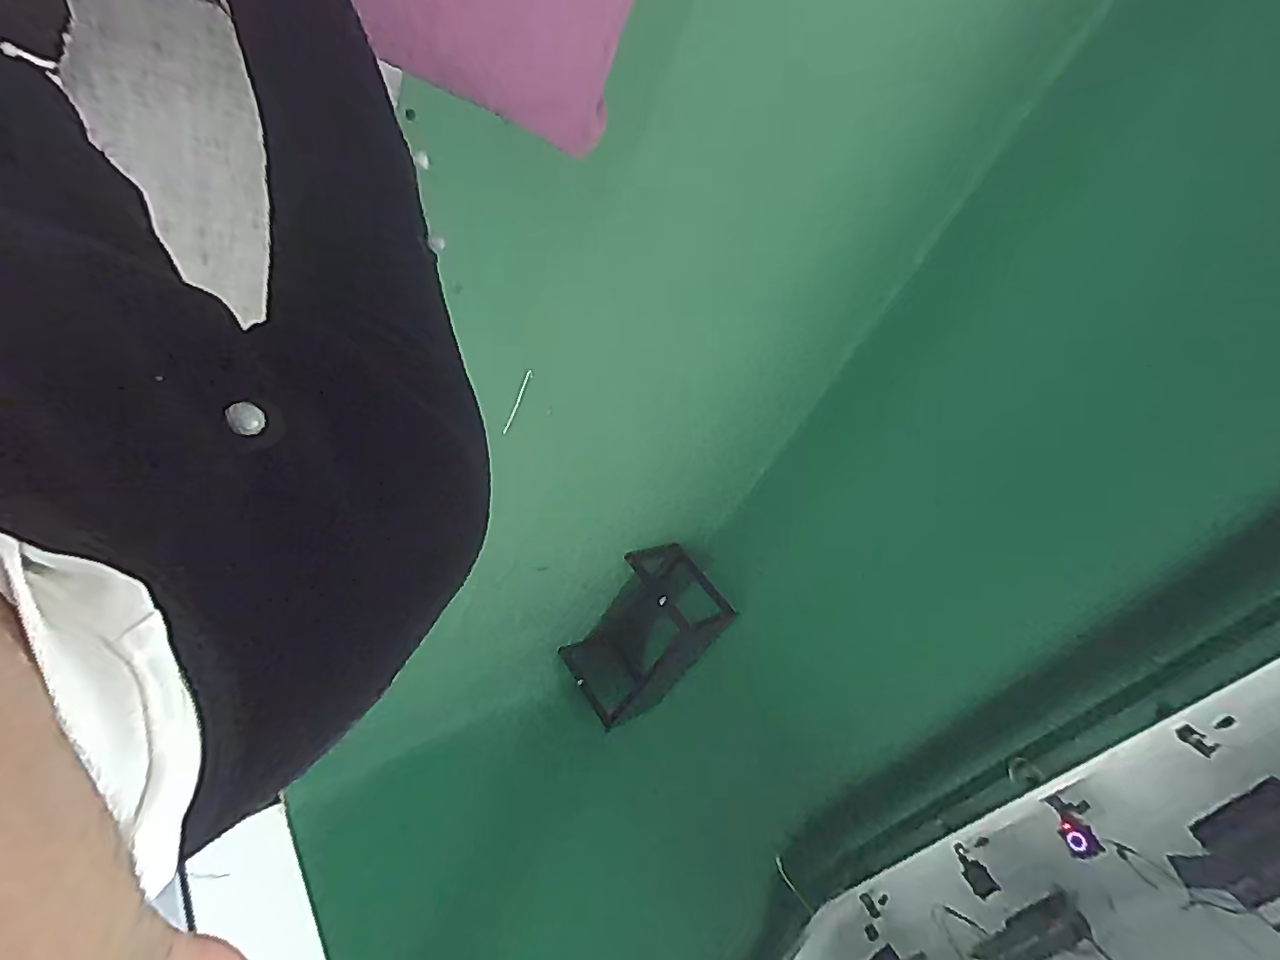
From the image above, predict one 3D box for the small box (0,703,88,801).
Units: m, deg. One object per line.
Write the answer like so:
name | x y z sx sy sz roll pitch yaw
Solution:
small box | -1.756 0.796 1.598 0.168 0.176 0.179 -5 136 -46
